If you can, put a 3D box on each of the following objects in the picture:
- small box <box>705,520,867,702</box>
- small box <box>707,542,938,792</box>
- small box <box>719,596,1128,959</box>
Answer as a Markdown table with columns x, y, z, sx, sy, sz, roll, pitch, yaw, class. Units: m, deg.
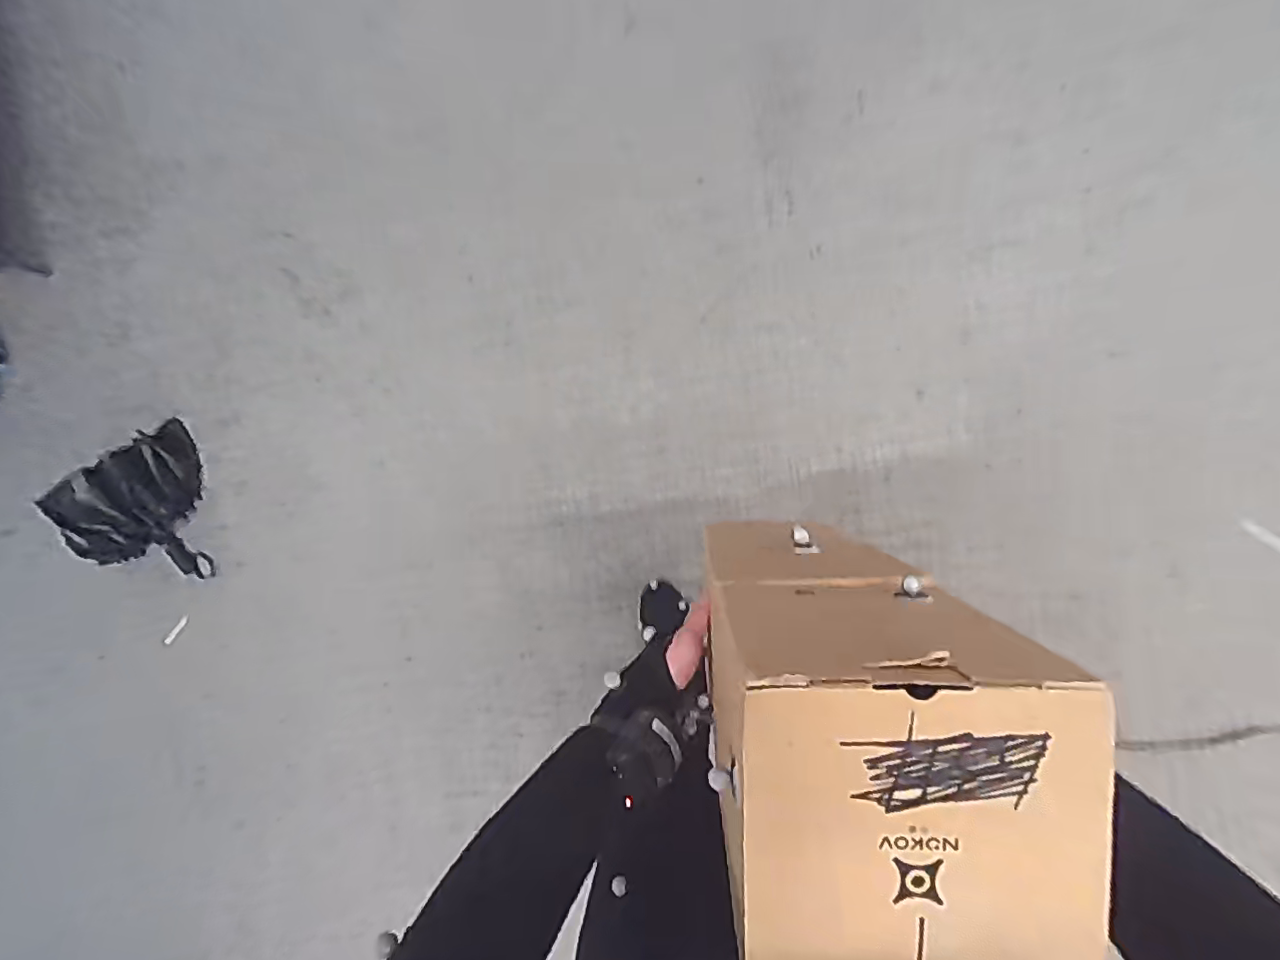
| x | y | z | sx | sy | sz | roll | pitch | yaw | class |
| --- | --- | --- | --- | --- | --- | --- | --- | --- | --- |
| 0.164 | 0.149 | 0.649 | 0.168 | 0.176 | 0.179 | -1 | 94 | 6 | small box |
| 0.148 | 0.158 | 0.487 | 0.168 | 0.176 | 0.179 | -3 | 93 | 5 | small box |
| 0.135 | 0.174 | 0.324 | 0.168 | 0.176 | 0.179 | -1 | 95 | 5 | small box |
